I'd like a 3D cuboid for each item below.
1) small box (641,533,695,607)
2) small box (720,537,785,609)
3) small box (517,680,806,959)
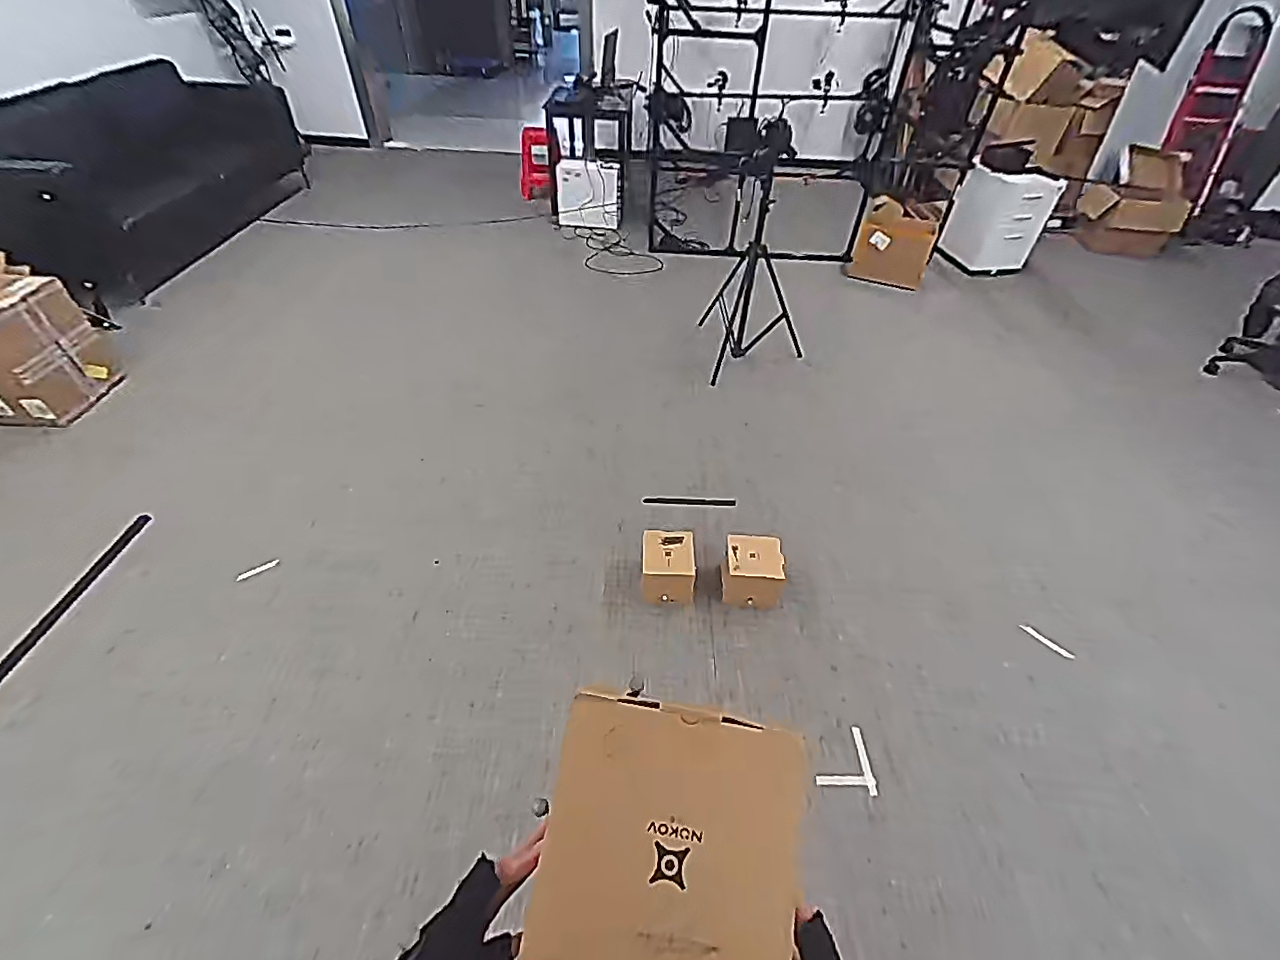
[{"bbox_3d":[0.089,0.298,1.785,0.168,0.176,0.179,2,45,0],"label":"small box"},{"bbox_3d":[0.365,0.311,1.786,0.179,0.176,0.168,5,44,1],"label":"small box"},{"bbox_3d":[0.014,0.261,0.418,0.168,0.176,0.179,11,70,0],"label":"small box"}]
